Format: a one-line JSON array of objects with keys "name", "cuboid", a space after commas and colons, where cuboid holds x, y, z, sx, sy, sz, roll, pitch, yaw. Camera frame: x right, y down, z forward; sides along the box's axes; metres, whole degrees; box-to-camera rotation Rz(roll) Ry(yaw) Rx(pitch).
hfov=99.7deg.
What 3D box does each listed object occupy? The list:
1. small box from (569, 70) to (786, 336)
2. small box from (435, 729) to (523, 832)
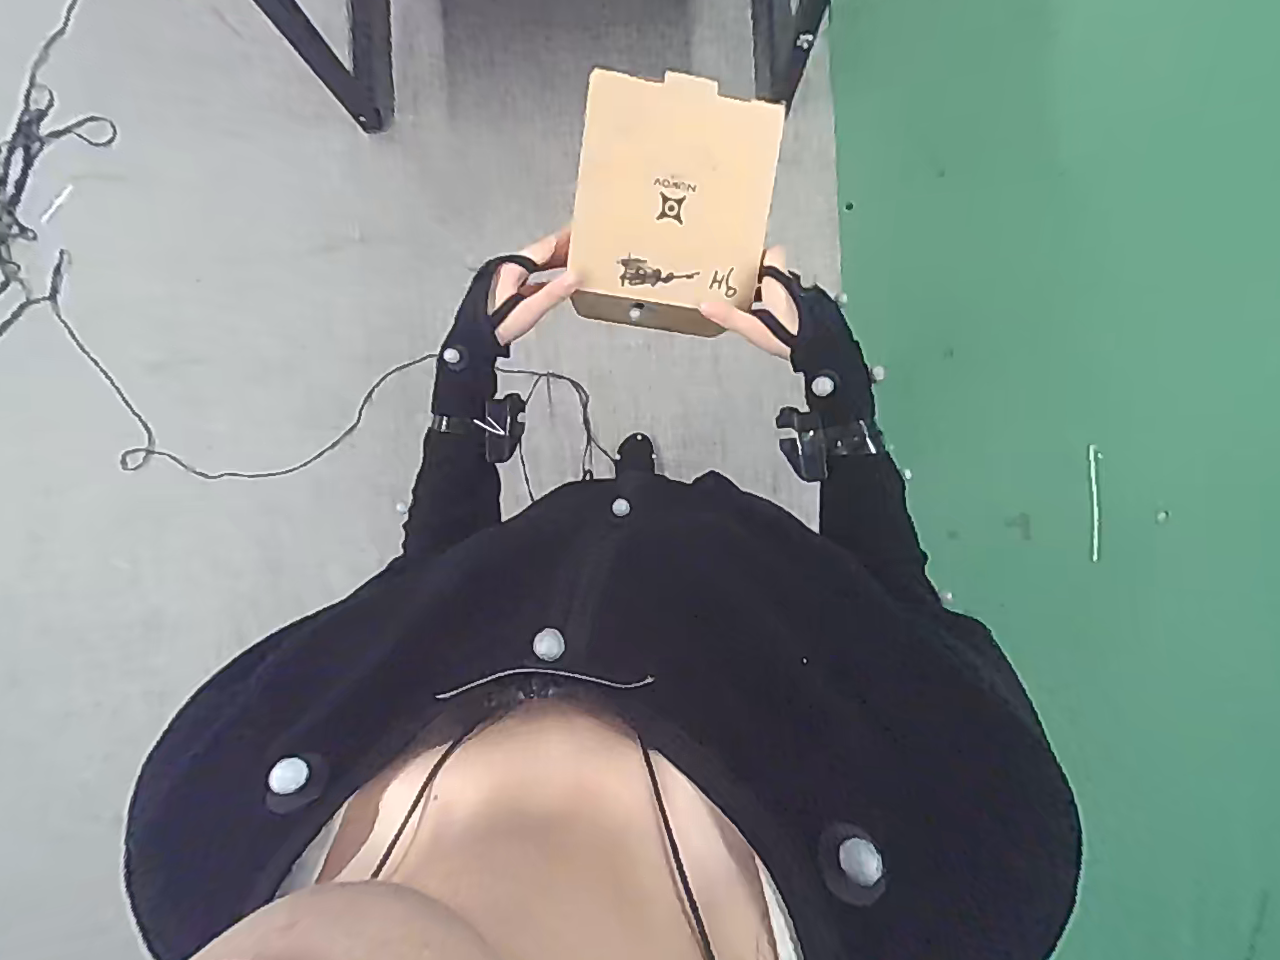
[{"name": "small box", "cuboid": [0.028, -0.252, 0.539, 0.168, 0.176, 0.179, 8, 98, -2]}, {"name": "small box", "cuboid": [-0.406, 0.775, 1.413, 0.179, 0.176, 0.168, -11, 89, 3]}]
